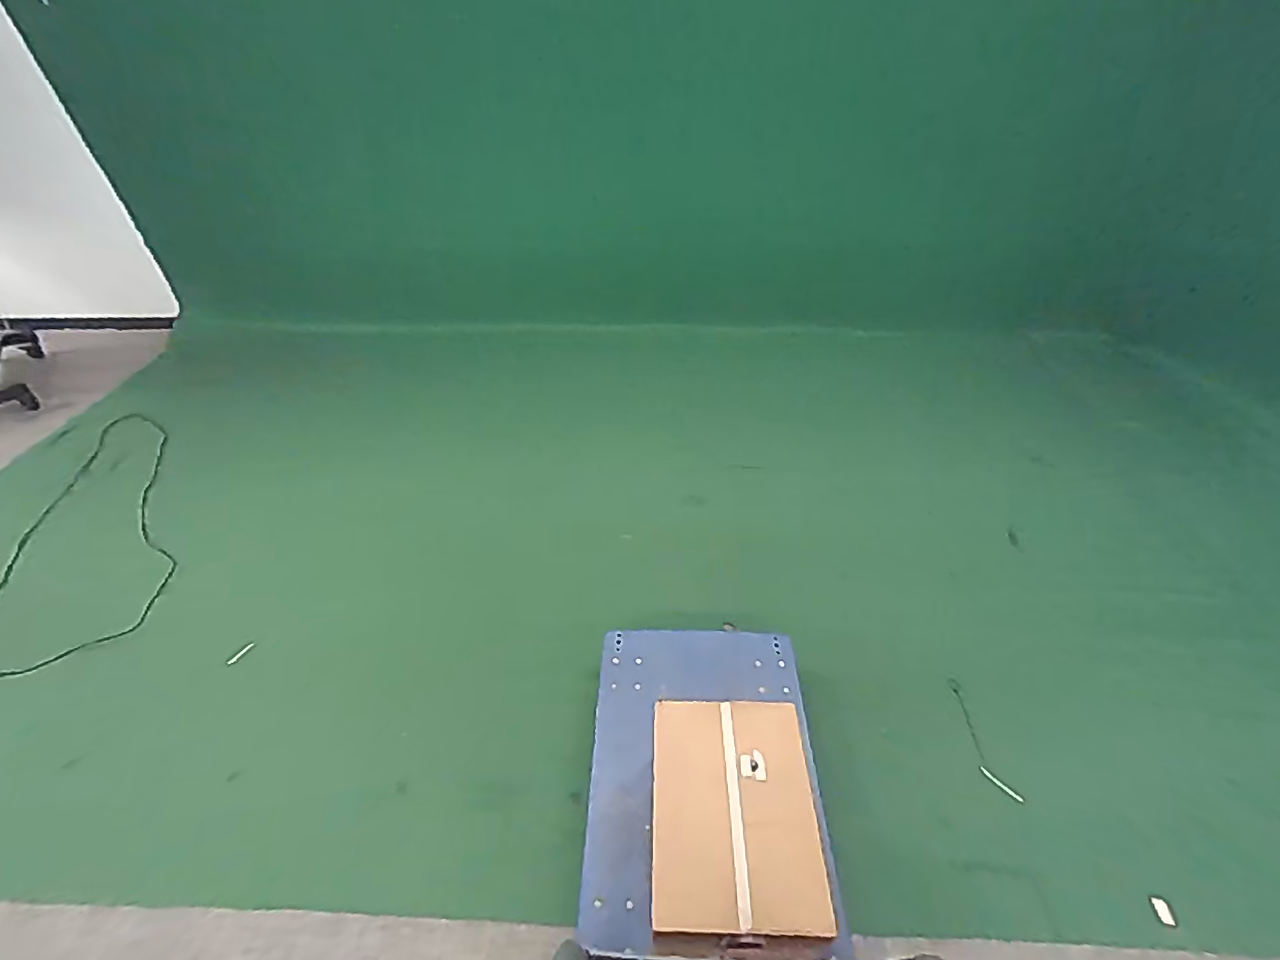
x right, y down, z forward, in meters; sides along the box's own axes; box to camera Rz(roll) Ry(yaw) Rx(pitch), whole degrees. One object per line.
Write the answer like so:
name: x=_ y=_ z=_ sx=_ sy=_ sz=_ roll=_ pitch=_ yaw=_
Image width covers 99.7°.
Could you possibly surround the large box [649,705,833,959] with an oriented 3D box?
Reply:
large box: x=0.178 y=0.747 z=1.150 sx=0.320 sy=0.320 sz=0.408 roll=1 pitch=40 yaw=1
